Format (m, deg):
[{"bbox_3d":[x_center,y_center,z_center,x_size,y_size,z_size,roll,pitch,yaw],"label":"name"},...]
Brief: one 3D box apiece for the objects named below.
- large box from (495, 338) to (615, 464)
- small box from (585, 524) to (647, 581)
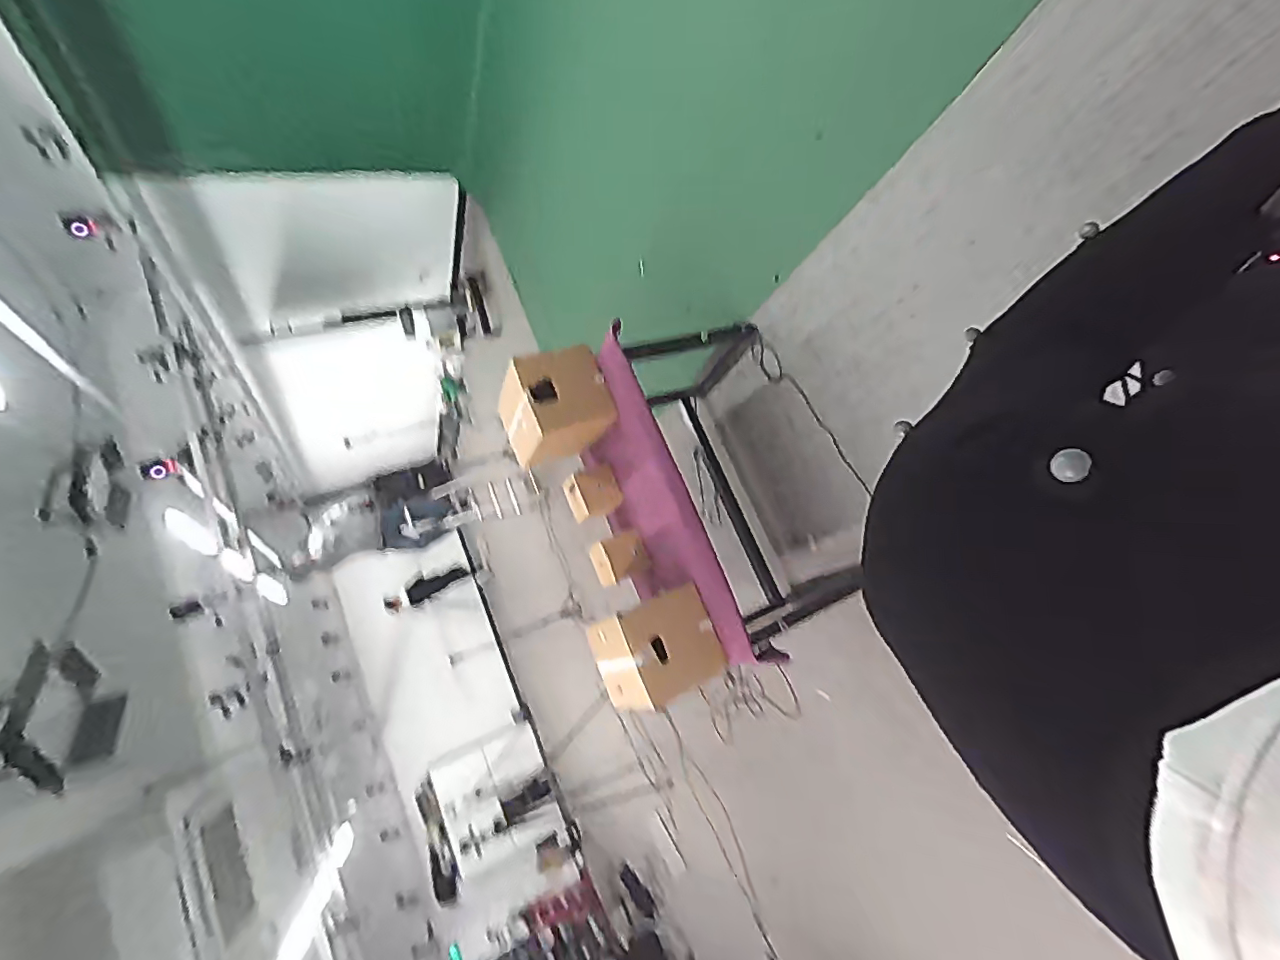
[{"bbox_3d":[-0.345,-0.304,2.126,0.320,0.320,0.408,66,152,8],"label":"large box"},{"bbox_3d":[-0.096,0.293,2.176,0.168,0.176,0.179,66,152,9],"label":"small box"}]
